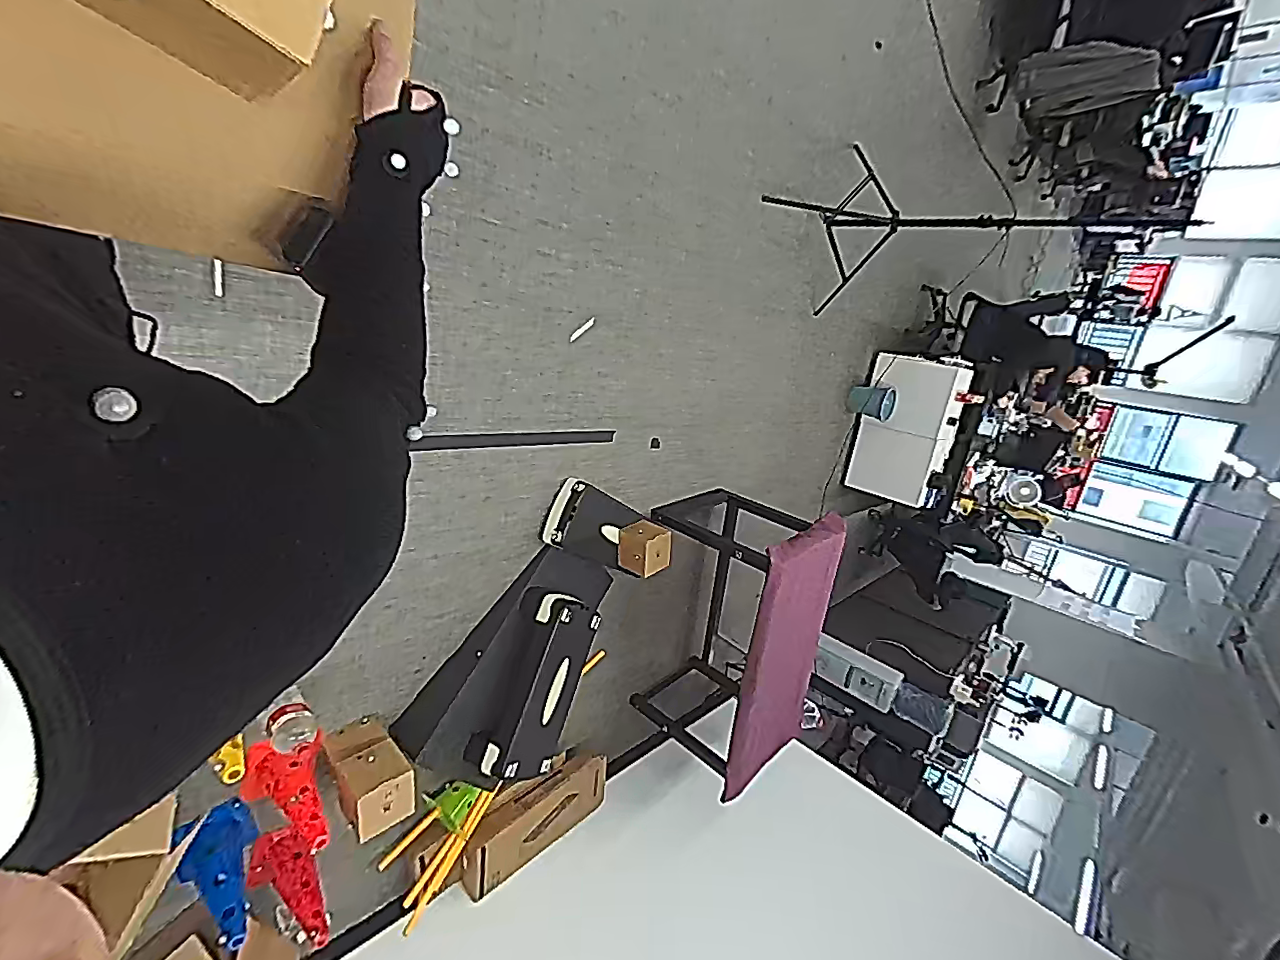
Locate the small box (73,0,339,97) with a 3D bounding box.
[{"bbox_3d":[-0.302,-0.385,0.348,0.179,0.176,0.168,15,98,-46],"label":"small box"}]
